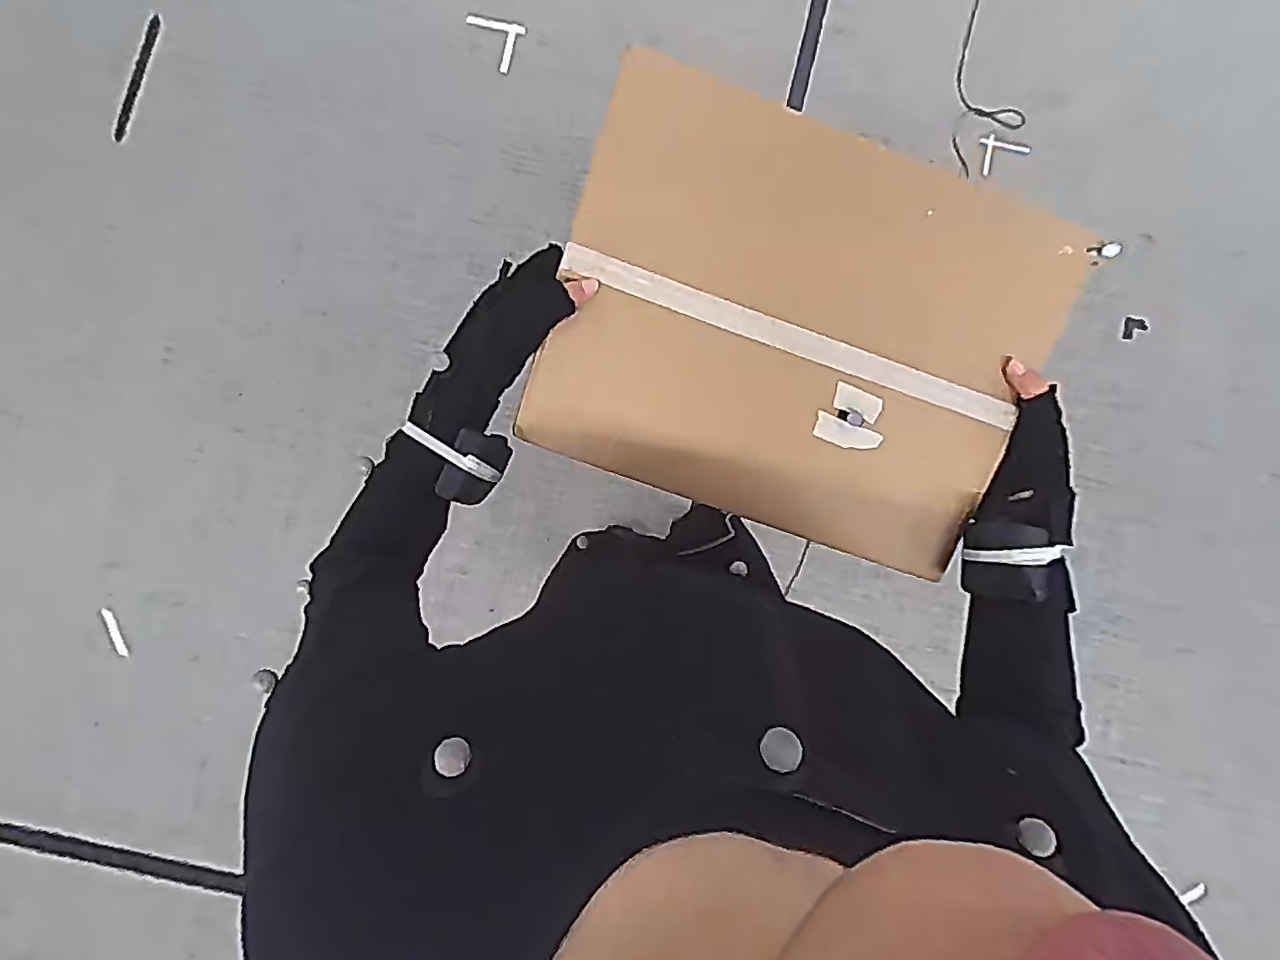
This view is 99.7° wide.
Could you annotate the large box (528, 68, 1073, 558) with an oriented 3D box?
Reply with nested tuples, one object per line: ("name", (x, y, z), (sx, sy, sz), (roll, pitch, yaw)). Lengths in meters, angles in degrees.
("large box", (0.128, -0.156, 0.613), (0.408, 0.320, 0.320), (19, 102, -5))
